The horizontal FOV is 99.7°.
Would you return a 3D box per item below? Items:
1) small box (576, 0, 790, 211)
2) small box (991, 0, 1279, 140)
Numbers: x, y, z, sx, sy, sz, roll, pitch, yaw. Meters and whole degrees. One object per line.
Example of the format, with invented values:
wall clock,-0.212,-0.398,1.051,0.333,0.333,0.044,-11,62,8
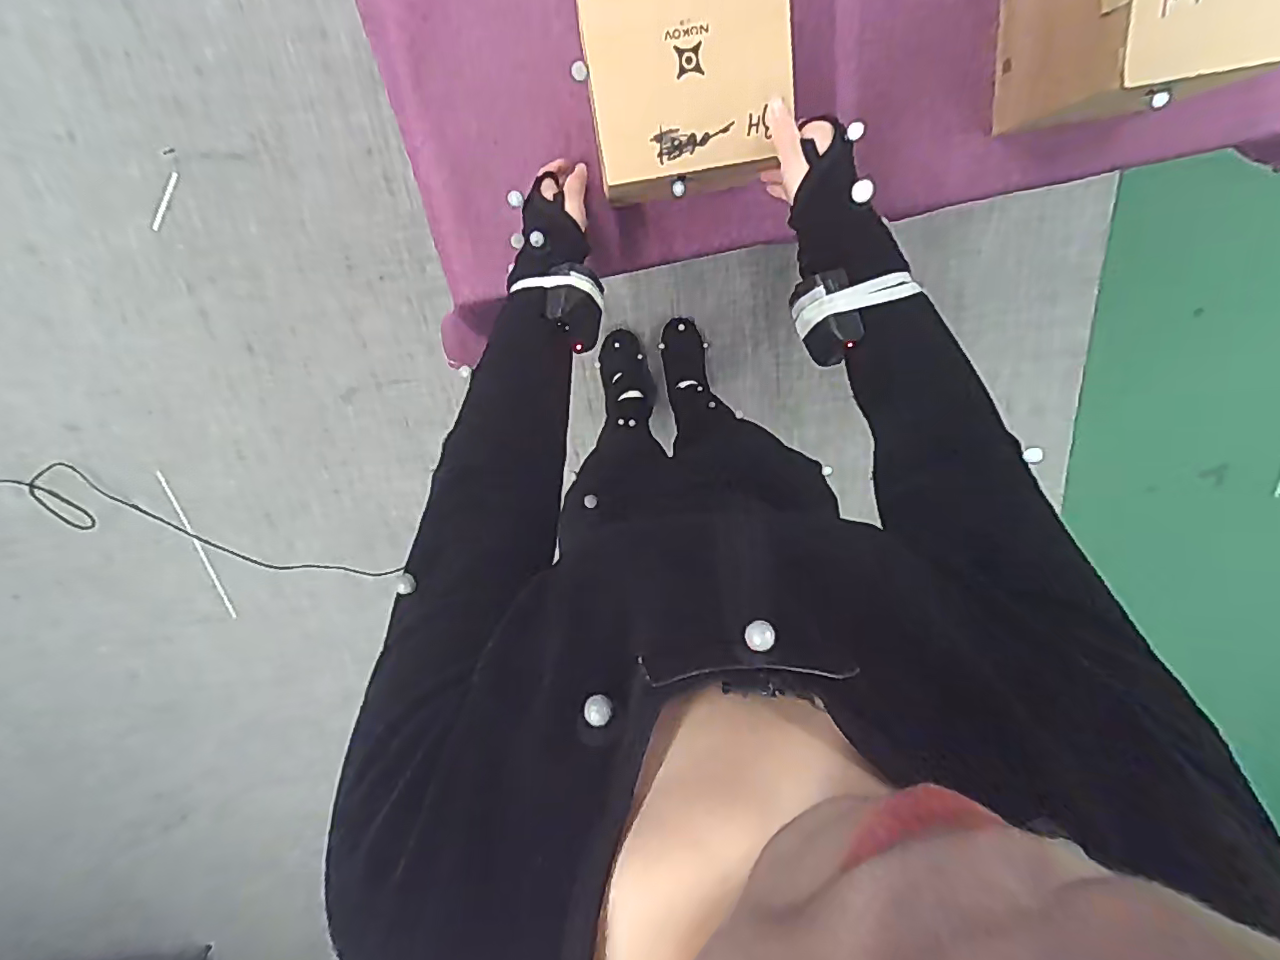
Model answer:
small box,0.033,-0.368,0.510,0.168,0.176,0.179,-9,112,1
small box,0.462,-0.435,0.499,0.179,0.176,0.168,-9,111,1
